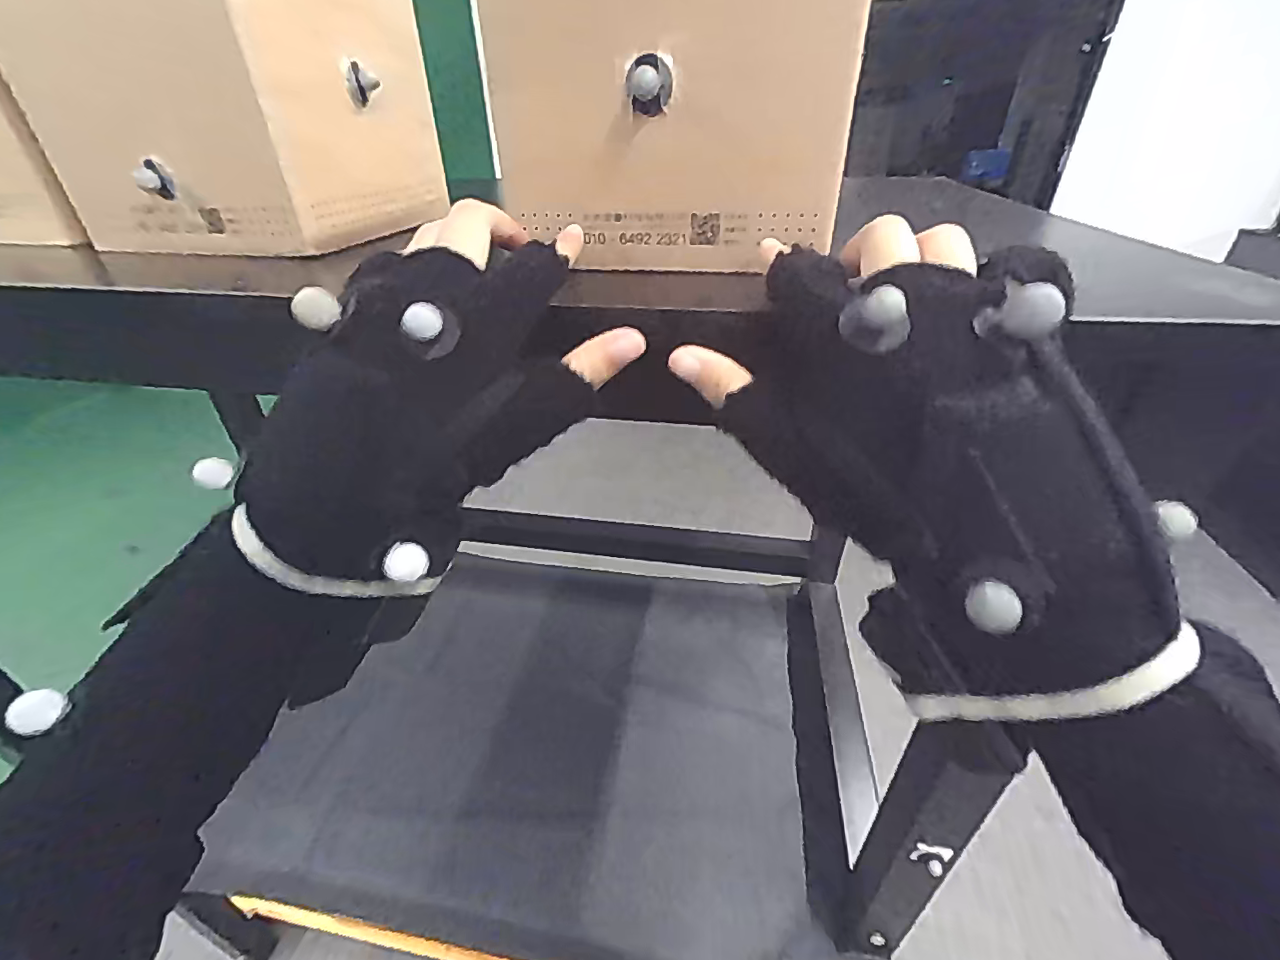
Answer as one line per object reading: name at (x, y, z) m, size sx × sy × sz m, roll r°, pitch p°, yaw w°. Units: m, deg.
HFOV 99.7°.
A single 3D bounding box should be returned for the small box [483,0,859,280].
small box at (0.025, -0.219, 0.310) m, size 0.168 × 0.176 × 0.179 m, roll 5°, pitch 34°, yaw 9°
